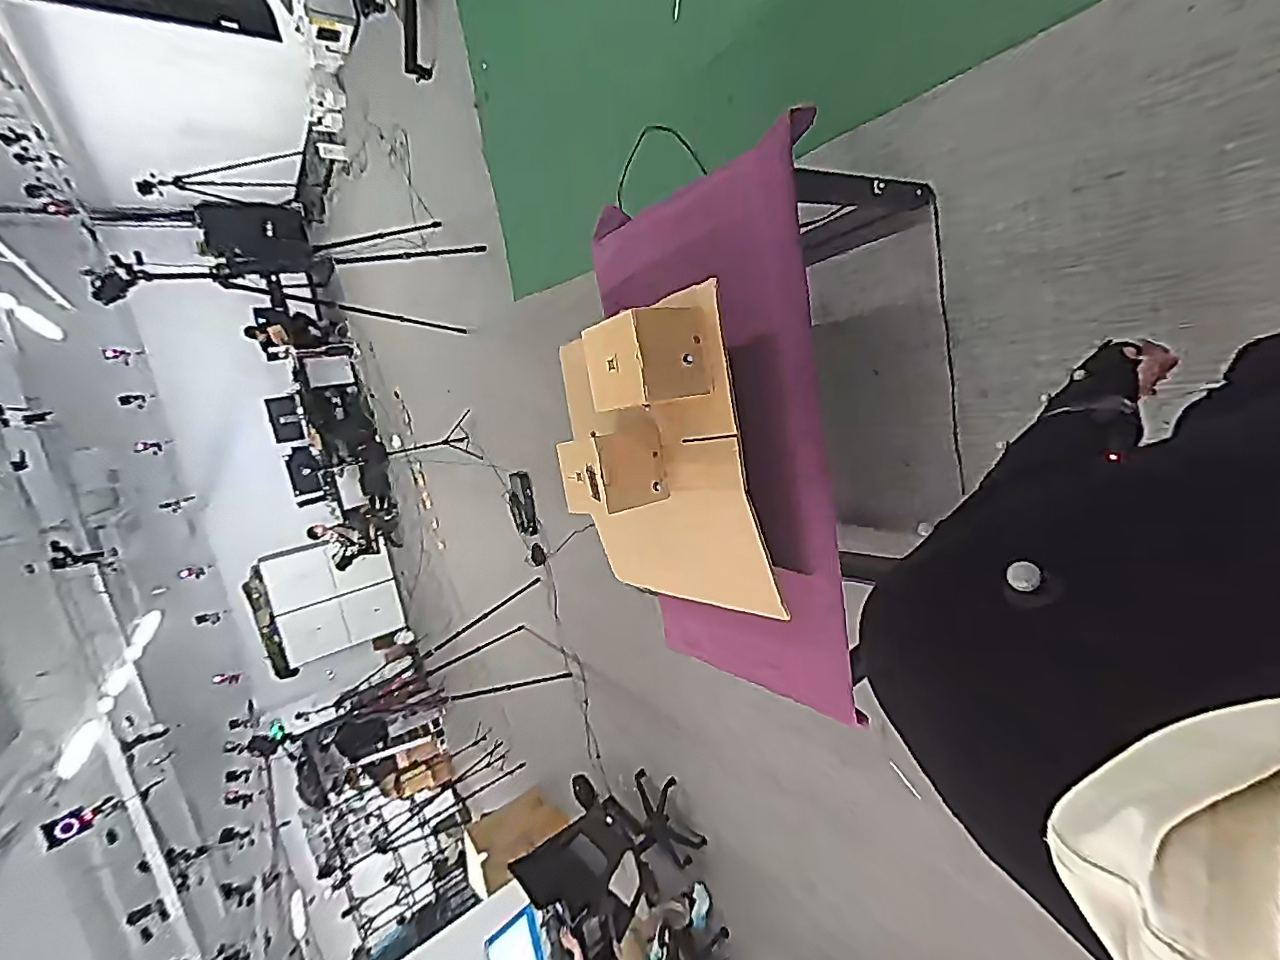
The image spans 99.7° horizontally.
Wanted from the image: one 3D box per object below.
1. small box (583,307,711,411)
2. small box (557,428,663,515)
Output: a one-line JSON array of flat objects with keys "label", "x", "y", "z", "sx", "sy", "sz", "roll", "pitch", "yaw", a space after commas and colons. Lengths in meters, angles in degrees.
[{"label": "small box", "x": 0.013, "y": -0.231, "z": 1.053, "sx": 0.179, "sy": 0.176, "sz": 0.168, "roll": -2, "pitch": 100, "yaw": 53}, {"label": "small box", "x": -0.062, "y": -0.021, "z": 1.223, "sx": 0.179, "sy": 0.176, "sz": 0.168, "roll": -2, "pitch": 100, "yaw": 54}]
